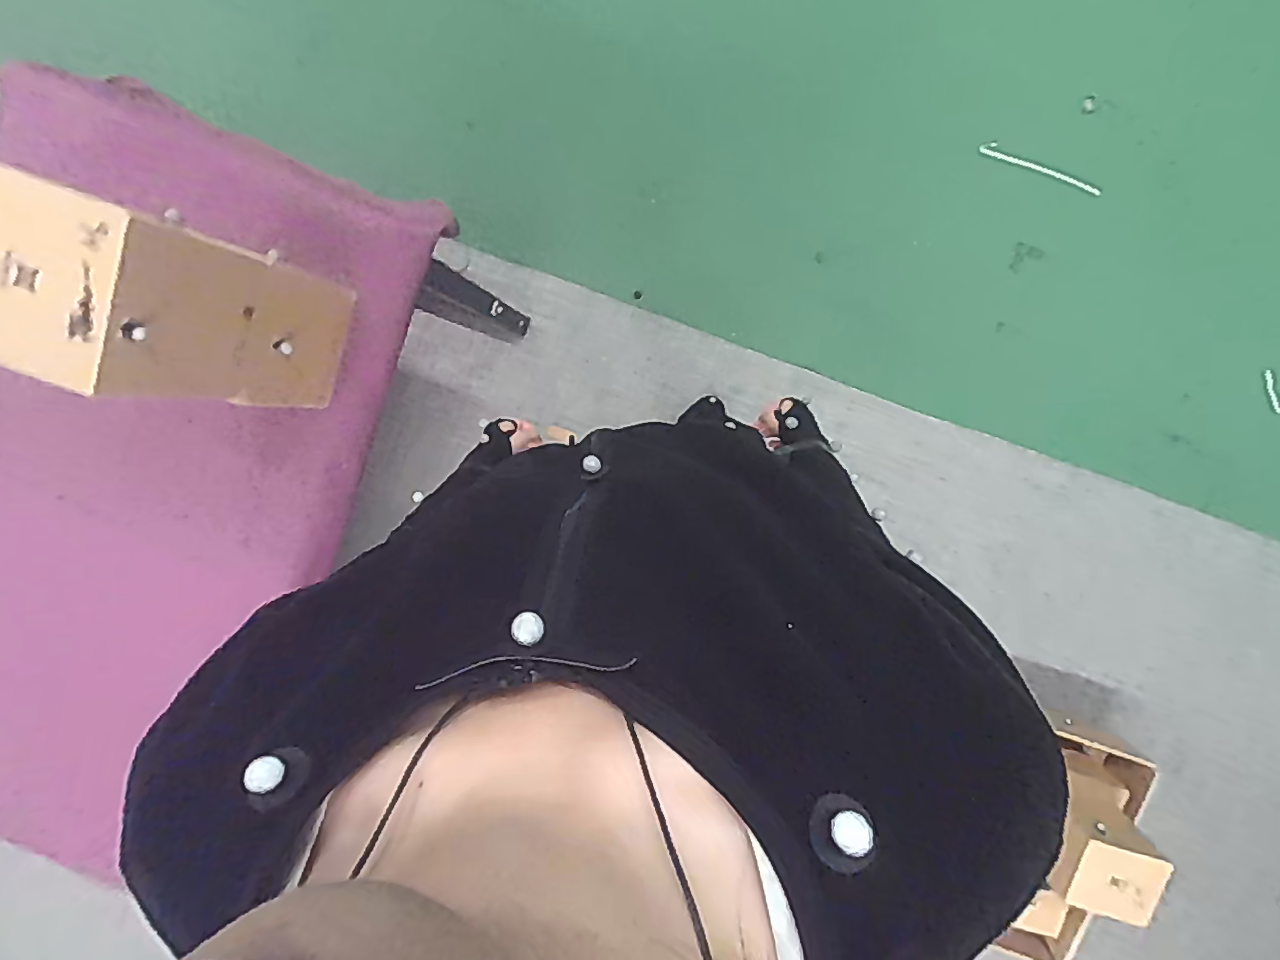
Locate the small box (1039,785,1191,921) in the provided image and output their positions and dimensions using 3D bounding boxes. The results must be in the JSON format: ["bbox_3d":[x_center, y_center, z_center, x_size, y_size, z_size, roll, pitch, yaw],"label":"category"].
[{"bbox_3d":[1.060,0.834,1.227,0.179,0.176,0.168,14,100,5],"label":"small box"}]

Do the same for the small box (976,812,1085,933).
[{"bbox_3d":[1.020,1.018,1.417,0.168,0.176,0.179,12,97,5],"label":"small box"}]

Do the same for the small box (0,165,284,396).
[{"bbox_3d":[-0.524,-0.189,0.562,0.179,0.176,0.168,20,100,2],"label":"small box"}]

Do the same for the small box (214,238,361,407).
[{"bbox_3d":[-0.508,-0.207,0.724,0.168,0.176,0.179,19,100,2],"label":"small box"}]

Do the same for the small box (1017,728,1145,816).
[{"bbox_3d":[1.110,0.772,1.379,0.168,0.176,0.179,15,100,5],"label":"small box"}]
